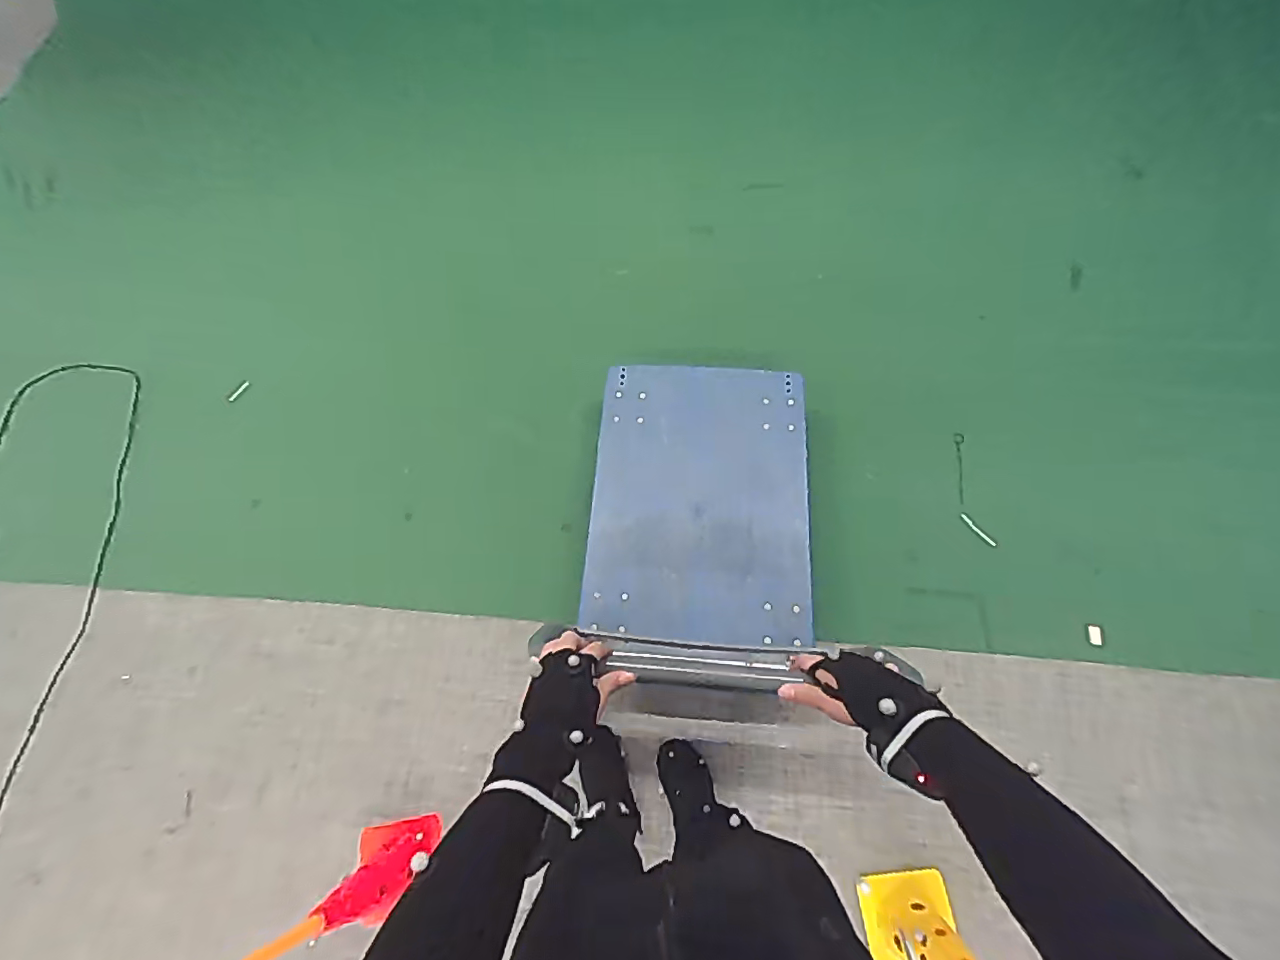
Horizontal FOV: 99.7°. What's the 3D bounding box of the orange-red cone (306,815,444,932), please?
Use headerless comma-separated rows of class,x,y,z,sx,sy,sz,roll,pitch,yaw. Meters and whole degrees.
orange-red cone,-0.583,0.869,1.147,0.199,0.360,0.198,-11,68,0
